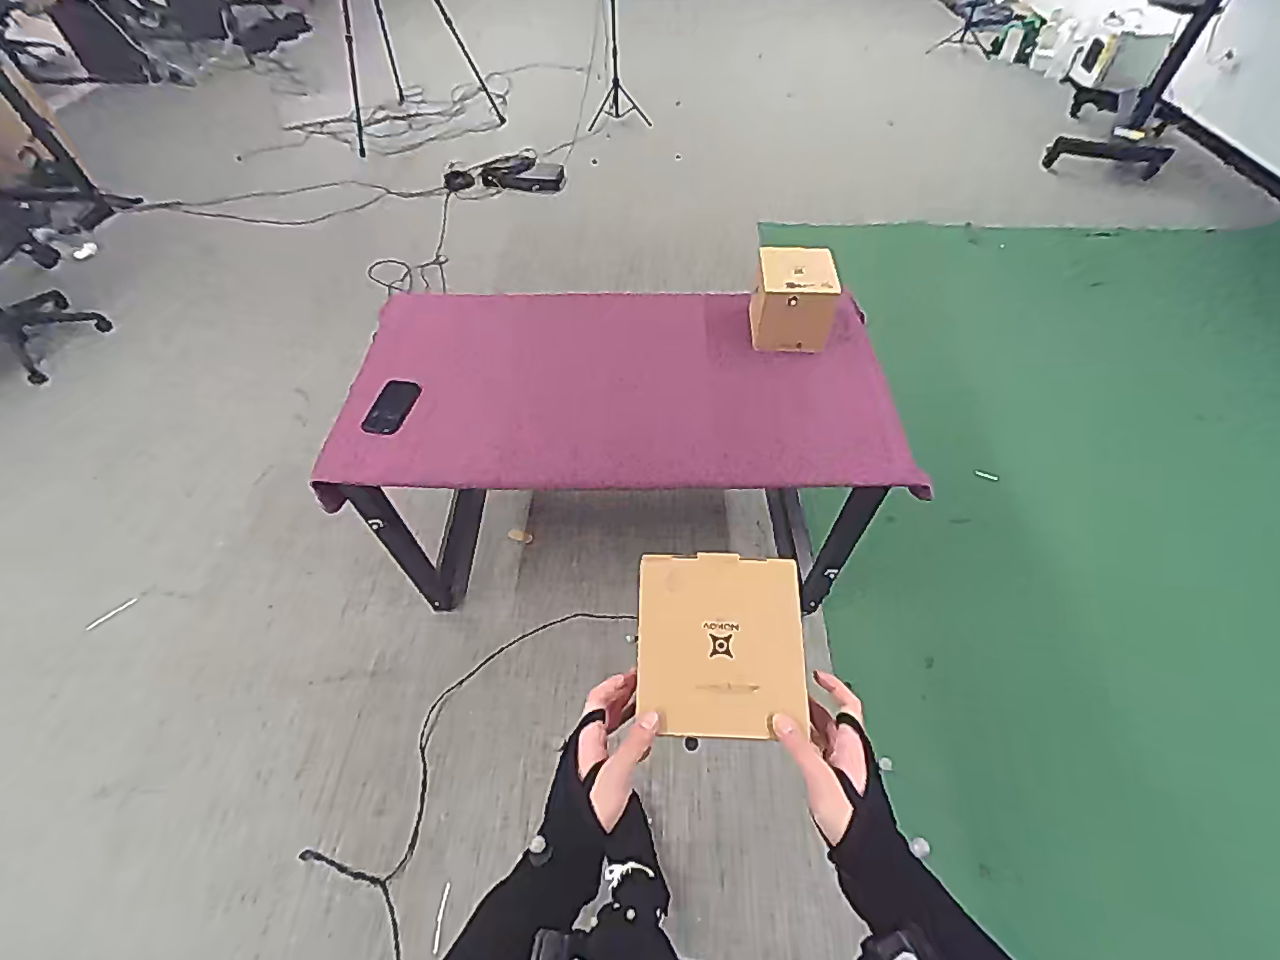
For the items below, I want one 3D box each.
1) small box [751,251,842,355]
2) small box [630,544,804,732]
[{"bbox_3d":[0.360,-0.419,1.281,0.168,0.176,0.179,2,53,3],"label":"small box"},{"bbox_3d":[0.076,0.183,0.609,0.168,0.176,0.179,2,67,1],"label":"small box"}]
